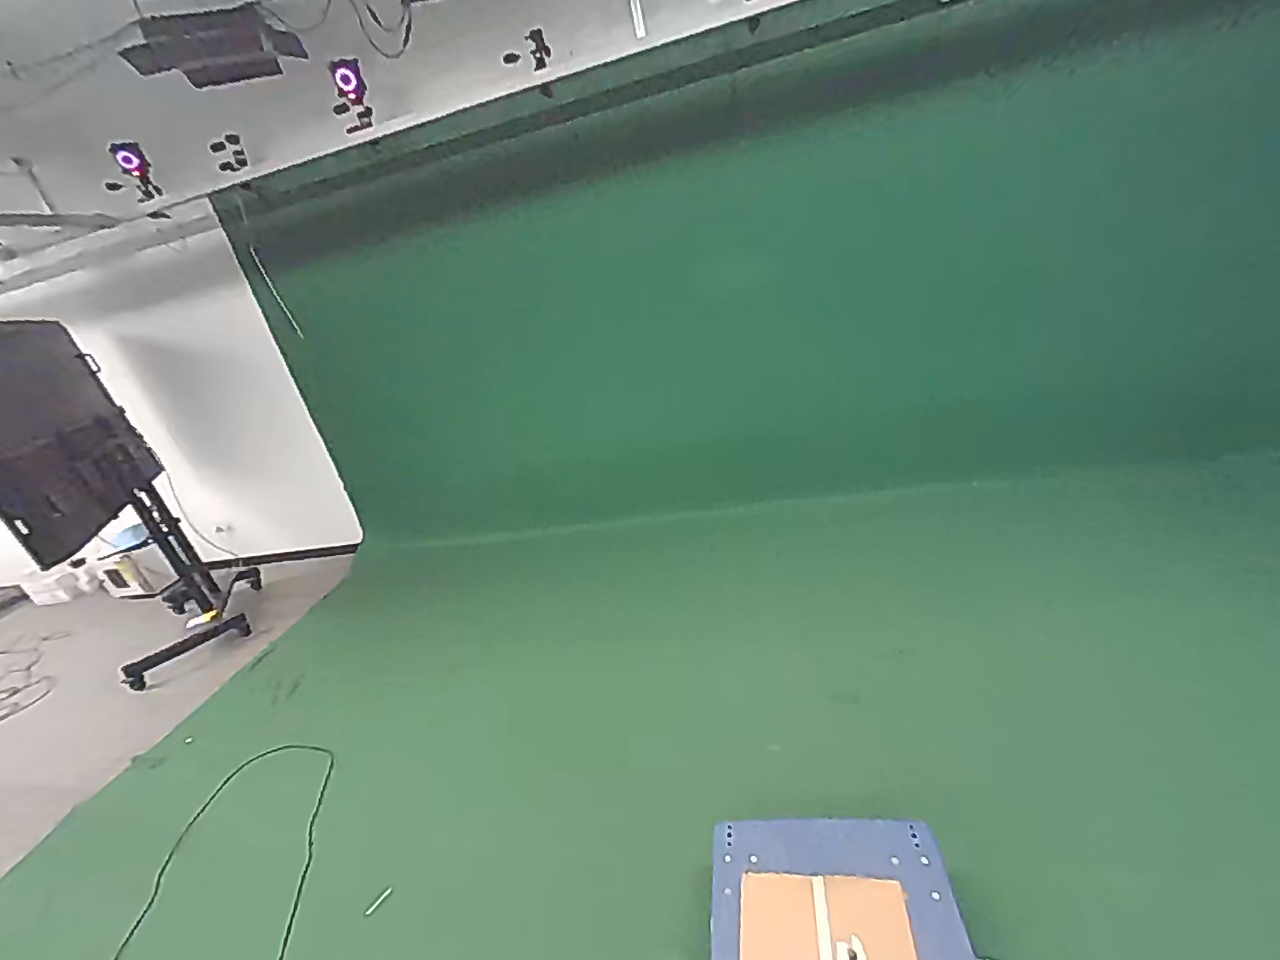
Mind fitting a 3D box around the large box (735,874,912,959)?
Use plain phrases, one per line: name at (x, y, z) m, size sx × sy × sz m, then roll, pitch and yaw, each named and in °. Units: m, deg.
large box at (0.352, 1.028, 0.982) m, size 0.320 × 0.320 × 0.408 m, roll -7°, pitch 22°, yaw 15°
